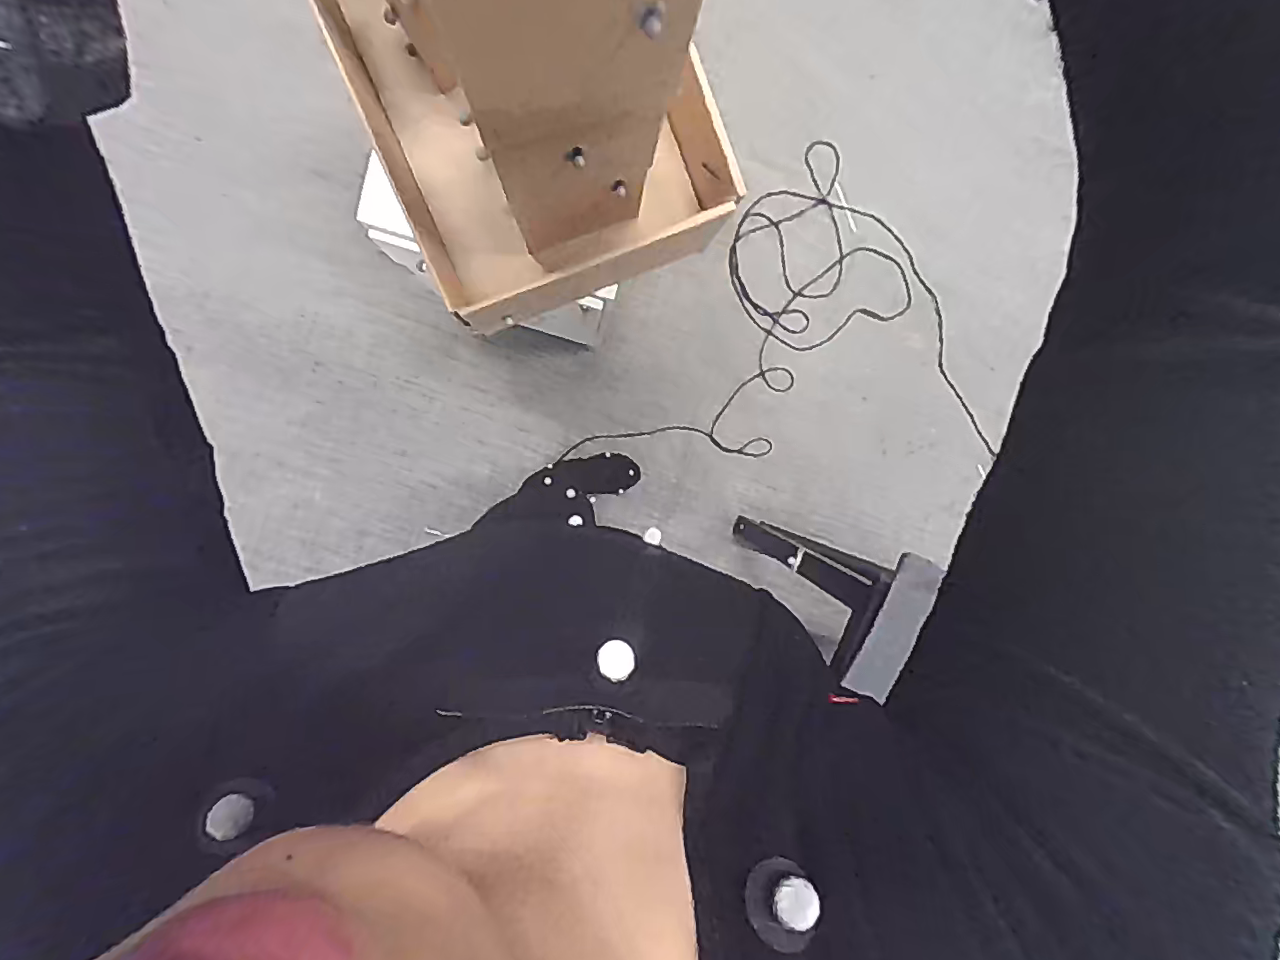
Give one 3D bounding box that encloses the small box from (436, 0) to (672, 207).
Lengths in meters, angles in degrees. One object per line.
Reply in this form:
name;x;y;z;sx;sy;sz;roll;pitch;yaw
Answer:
small box;-0.086;-0.408;0.539;0.179;0.176;0.168;-21;96;-3
